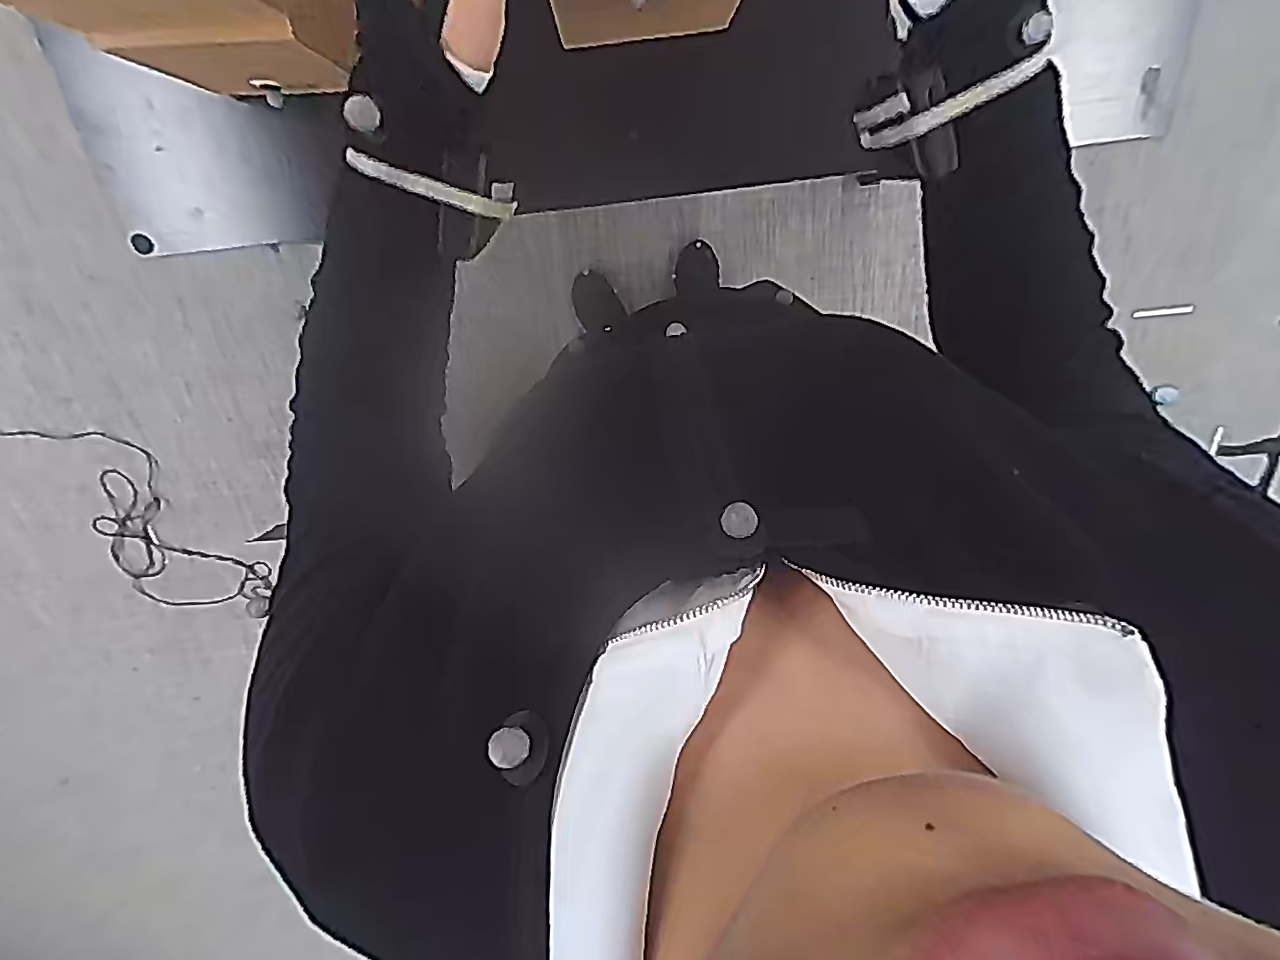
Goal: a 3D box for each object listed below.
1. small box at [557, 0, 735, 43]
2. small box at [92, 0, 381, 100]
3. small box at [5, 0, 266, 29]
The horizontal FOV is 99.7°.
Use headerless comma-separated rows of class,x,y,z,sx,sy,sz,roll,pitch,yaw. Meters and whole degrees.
small box,0.003,-0.506,0.462,0.179,0.176,0.168,-7,114,0
small box,-0.357,-0.459,0.472,0.168,0.176,0.179,-3,115,0
small box,-0.358,-0.399,0.319,0.179,0.176,0.168,-3,113,0
